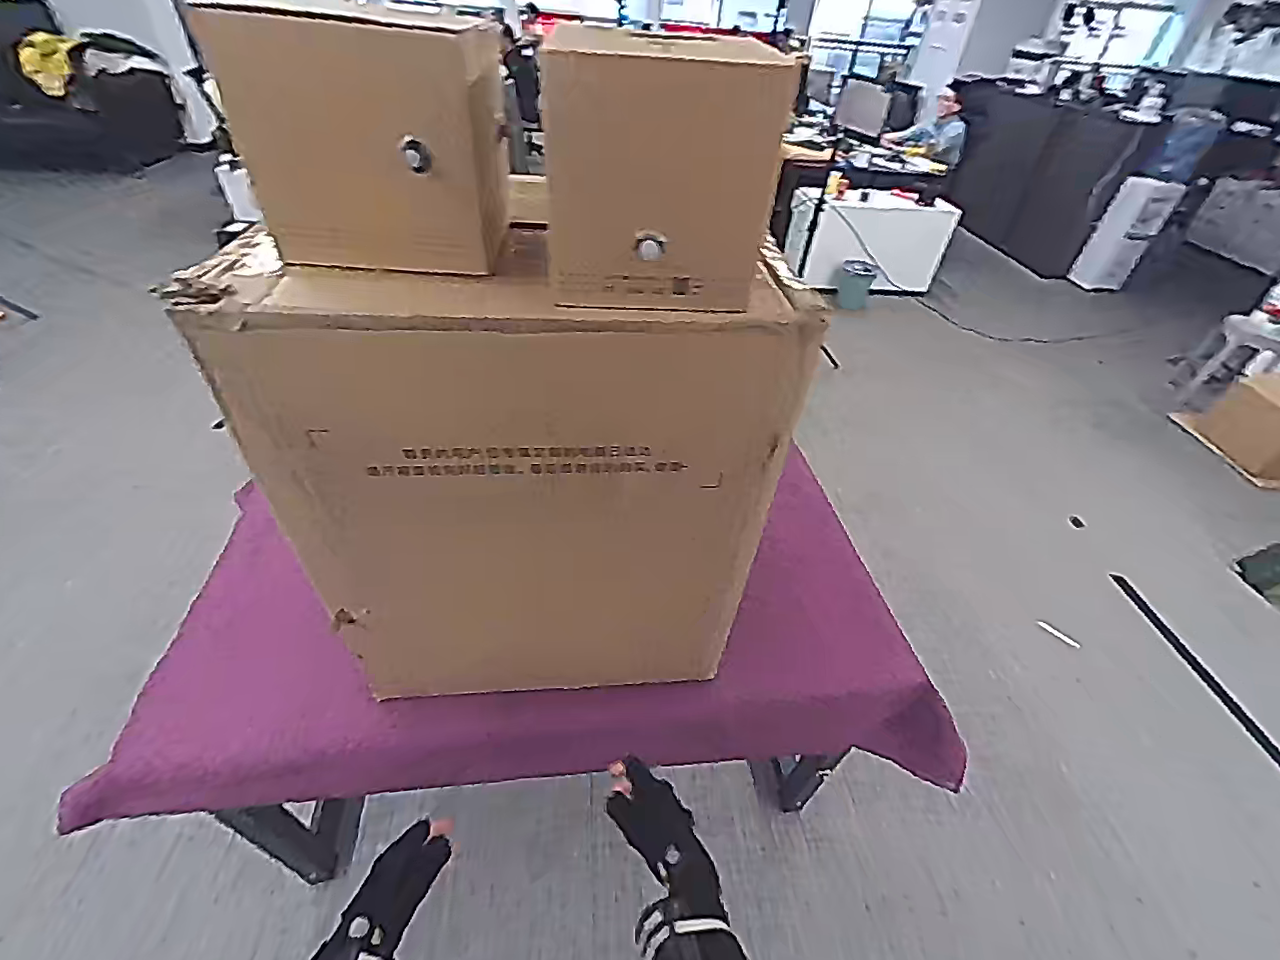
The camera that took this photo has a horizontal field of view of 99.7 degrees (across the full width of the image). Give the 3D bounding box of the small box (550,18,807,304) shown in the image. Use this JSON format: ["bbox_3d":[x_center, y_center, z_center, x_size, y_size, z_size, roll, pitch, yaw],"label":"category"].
[{"bbox_3d":[0.017,-0.265,0.450,0.168,0.176,0.179,1,42,-4],"label":"small box"}]

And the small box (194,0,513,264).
[{"bbox_3d":[-0.208,-0.297,0.460,0.179,0.176,0.168,1,41,-5],"label":"small box"}]
